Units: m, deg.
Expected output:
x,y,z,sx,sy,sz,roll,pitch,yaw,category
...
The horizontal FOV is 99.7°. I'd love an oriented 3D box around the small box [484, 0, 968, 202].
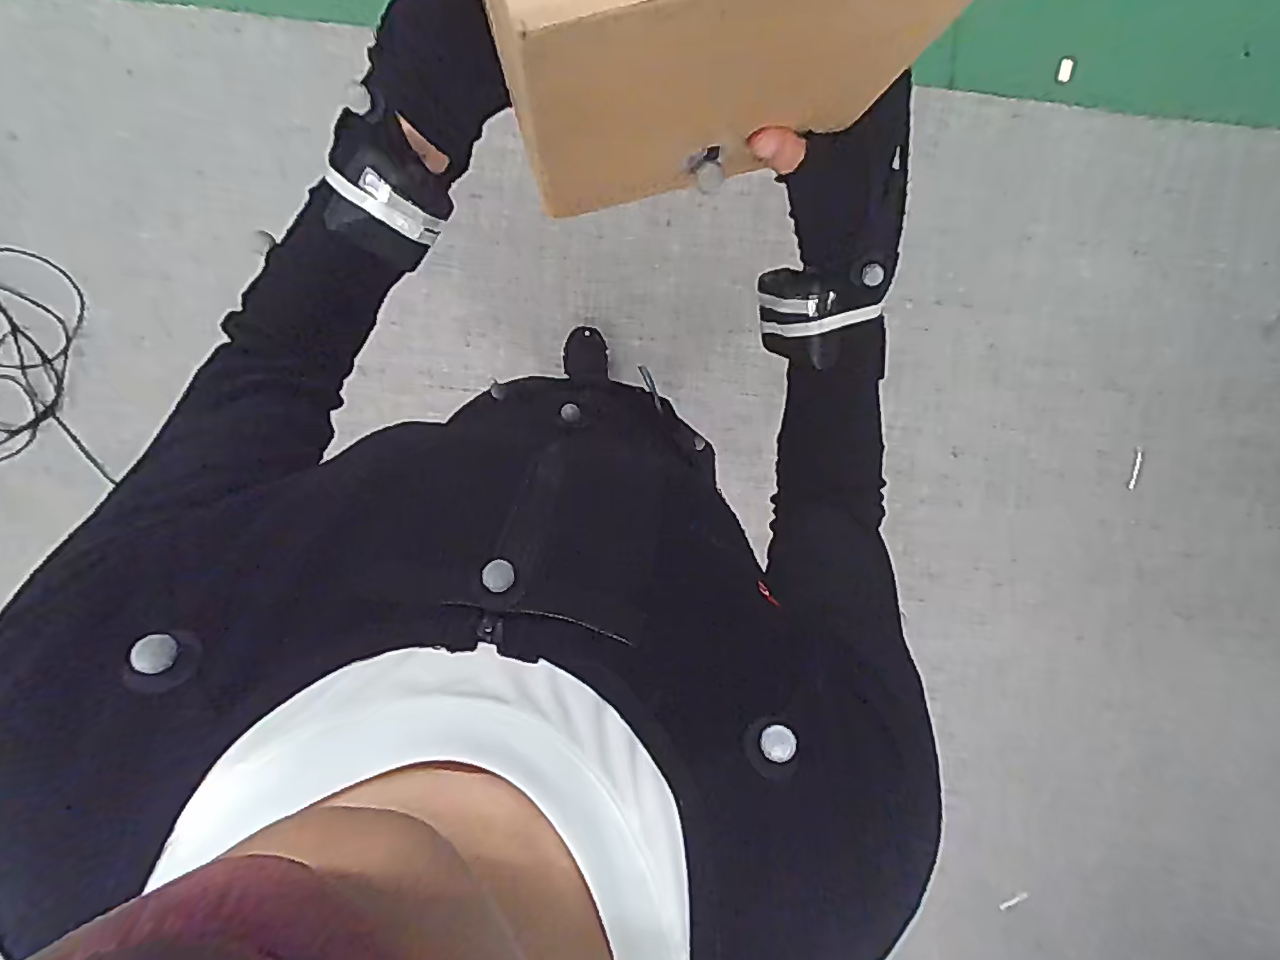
x,y,z,sx,sy,sz,roll,pitch,yaw,category
0.018,-0.242,0.222,0.179,0.176,0.168,-16,100,-5,small box
